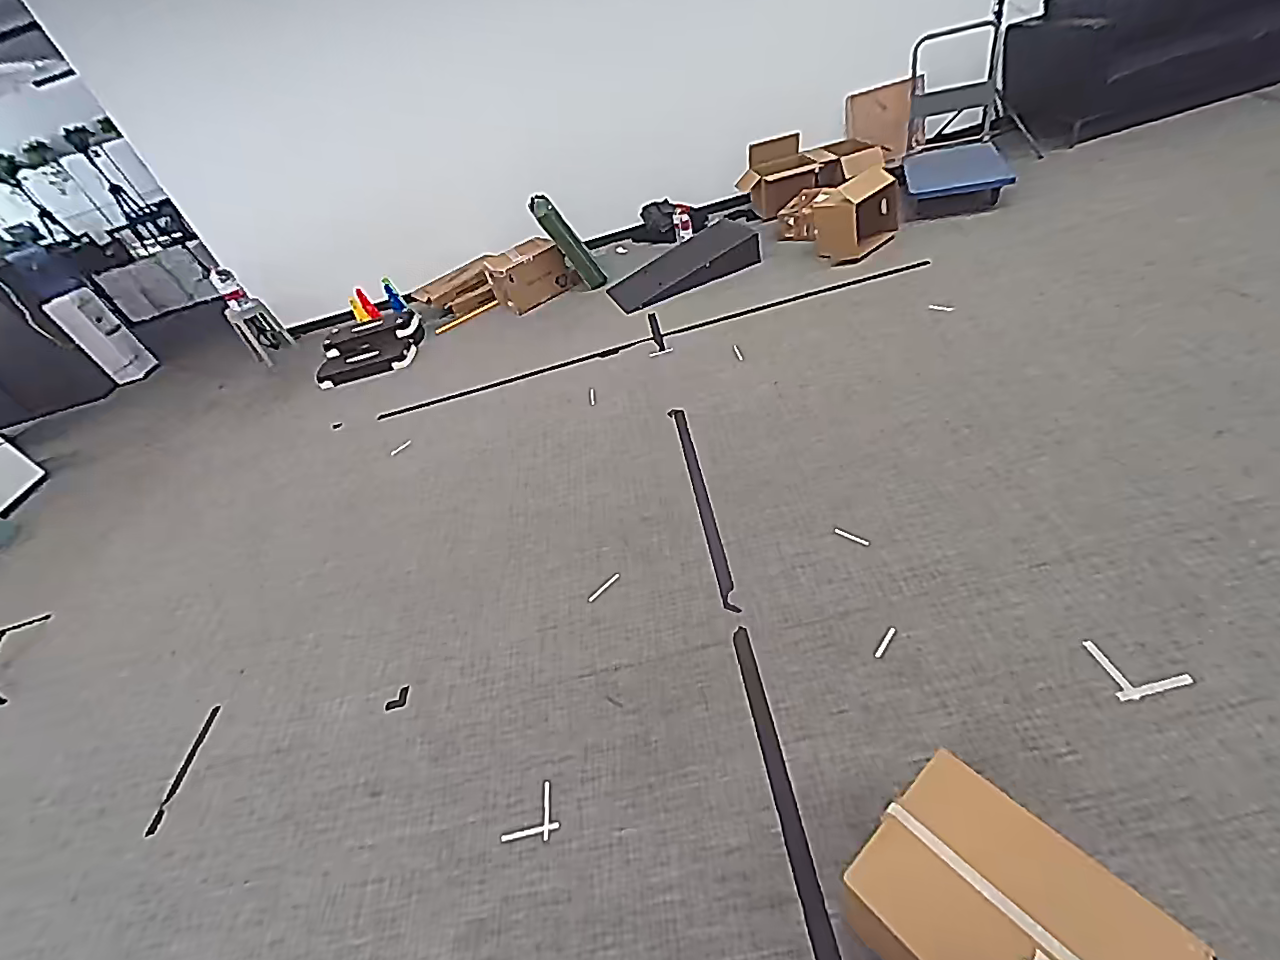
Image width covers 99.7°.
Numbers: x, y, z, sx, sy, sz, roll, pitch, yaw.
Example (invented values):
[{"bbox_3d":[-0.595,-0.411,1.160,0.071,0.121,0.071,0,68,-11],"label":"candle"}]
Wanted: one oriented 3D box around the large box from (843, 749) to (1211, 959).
[{"bbox_3d":[0.622,0.784,0.953,0.320,0.320,0.408,-37,44,-21],"label":"large box"}]
